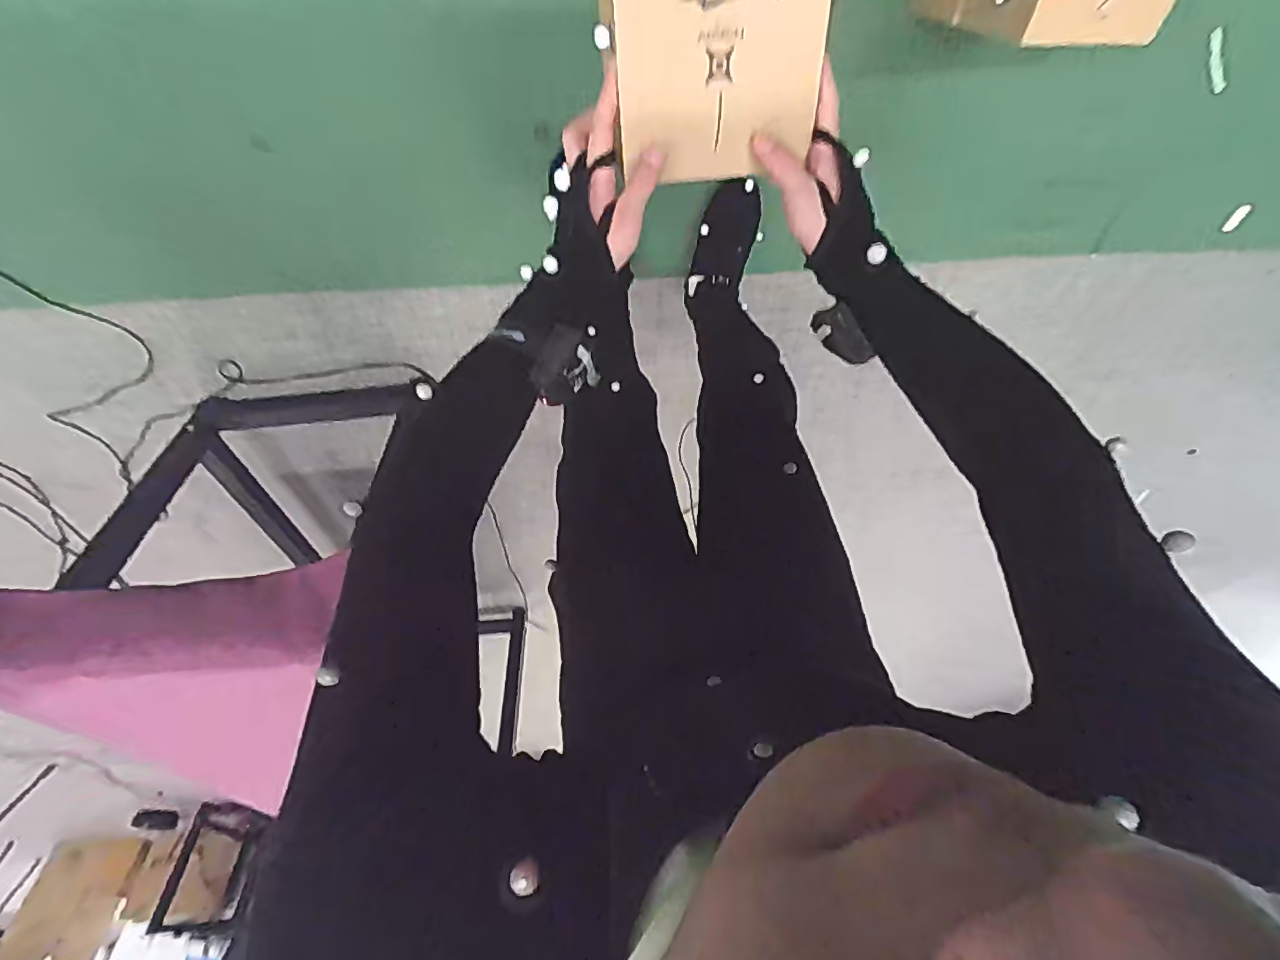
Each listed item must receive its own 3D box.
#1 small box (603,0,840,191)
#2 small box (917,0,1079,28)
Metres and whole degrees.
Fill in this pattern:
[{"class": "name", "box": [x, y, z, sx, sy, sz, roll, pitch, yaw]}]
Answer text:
[{"class": "small box", "box": [0.058, -0.372, 0.473, 0.168, 0.176, 0.179, -6, 131, -3]}, {"class": "small box", "box": [0.520, -0.756, 0.755, 0.168, 0.176, 0.179, -2, 137, -2]}]
